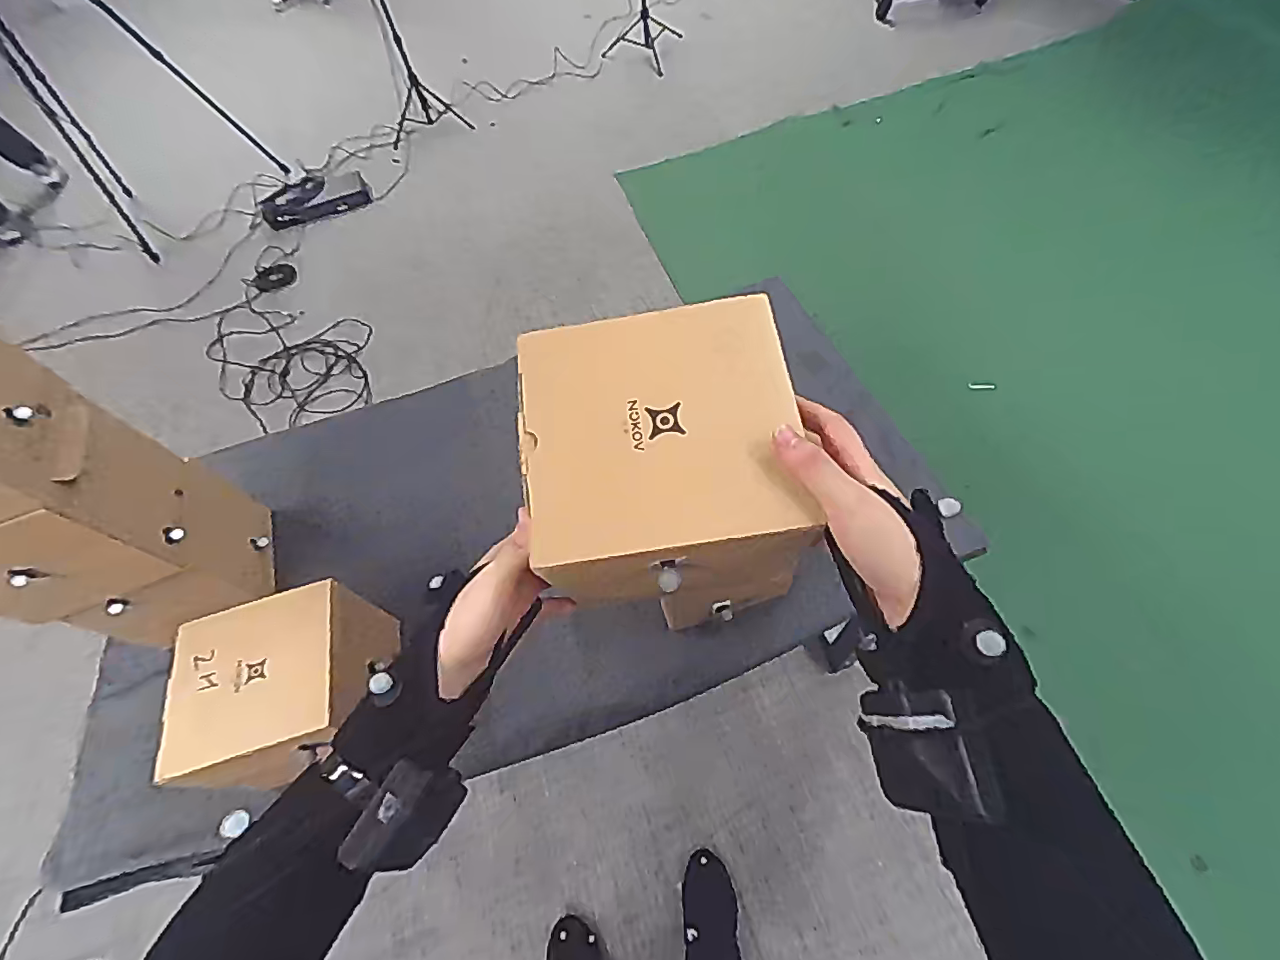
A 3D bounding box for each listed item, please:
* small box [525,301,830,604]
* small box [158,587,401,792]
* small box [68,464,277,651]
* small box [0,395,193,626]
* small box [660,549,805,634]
[{"bbox_3d":[0.023,-0.006,0.418,0.179,0.176,0.168,-10,68,3],"label":"small box"},{"bbox_3d":[-0.400,0.252,0.639,0.179,0.176,0.168,-17,58,-4],"label":"small box"},{"bbox_3d":[-0.643,0.113,0.757,0.168,0.176,0.179,-22,59,-7],"label":"small box"},{"bbox_3d":[-0.653,0.041,0.609,0.179,0.176,0.168,-22,60,-6],"label":"small box"},{"bbox_3d":[0.087,0.070,0.687,0.168,0.176,0.179,-19,58,-3],"label":"small box"}]
